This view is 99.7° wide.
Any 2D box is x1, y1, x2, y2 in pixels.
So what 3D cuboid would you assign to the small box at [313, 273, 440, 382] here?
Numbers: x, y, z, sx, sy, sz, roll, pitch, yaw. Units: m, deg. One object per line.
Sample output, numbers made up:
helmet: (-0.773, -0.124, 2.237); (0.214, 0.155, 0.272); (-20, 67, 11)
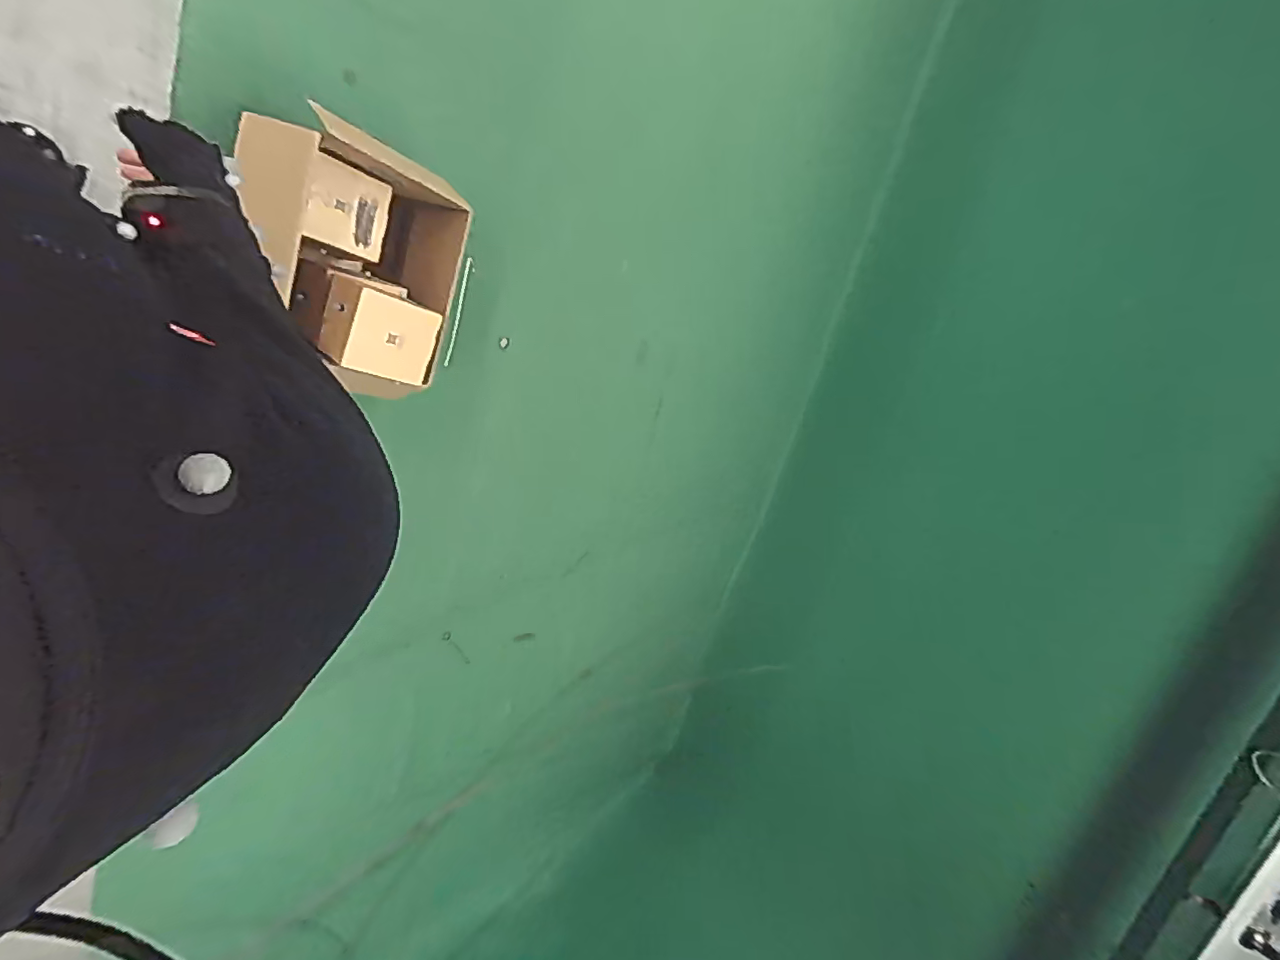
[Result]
small box: (-0.571, -0.329, 1.163); (0.179, 0.176, 0.168); (9, 107, -53)
